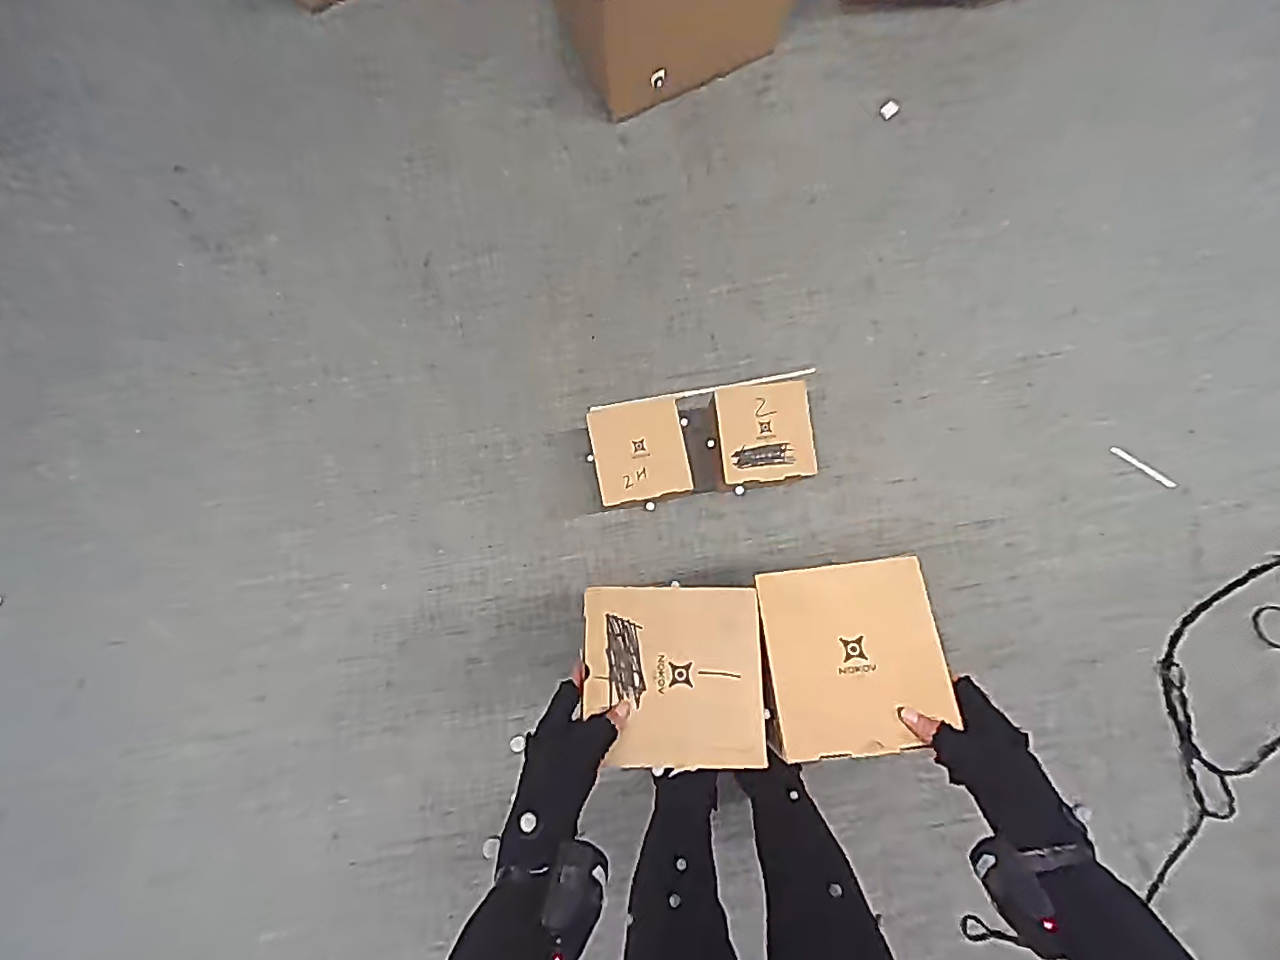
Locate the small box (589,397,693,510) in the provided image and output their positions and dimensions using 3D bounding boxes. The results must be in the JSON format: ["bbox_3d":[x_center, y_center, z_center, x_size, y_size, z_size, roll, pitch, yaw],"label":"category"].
[{"bbox_3d":[0.003,-0.043,1.045,0.168,0.176,0.179,-11,84,1],"label":"small box"}]
